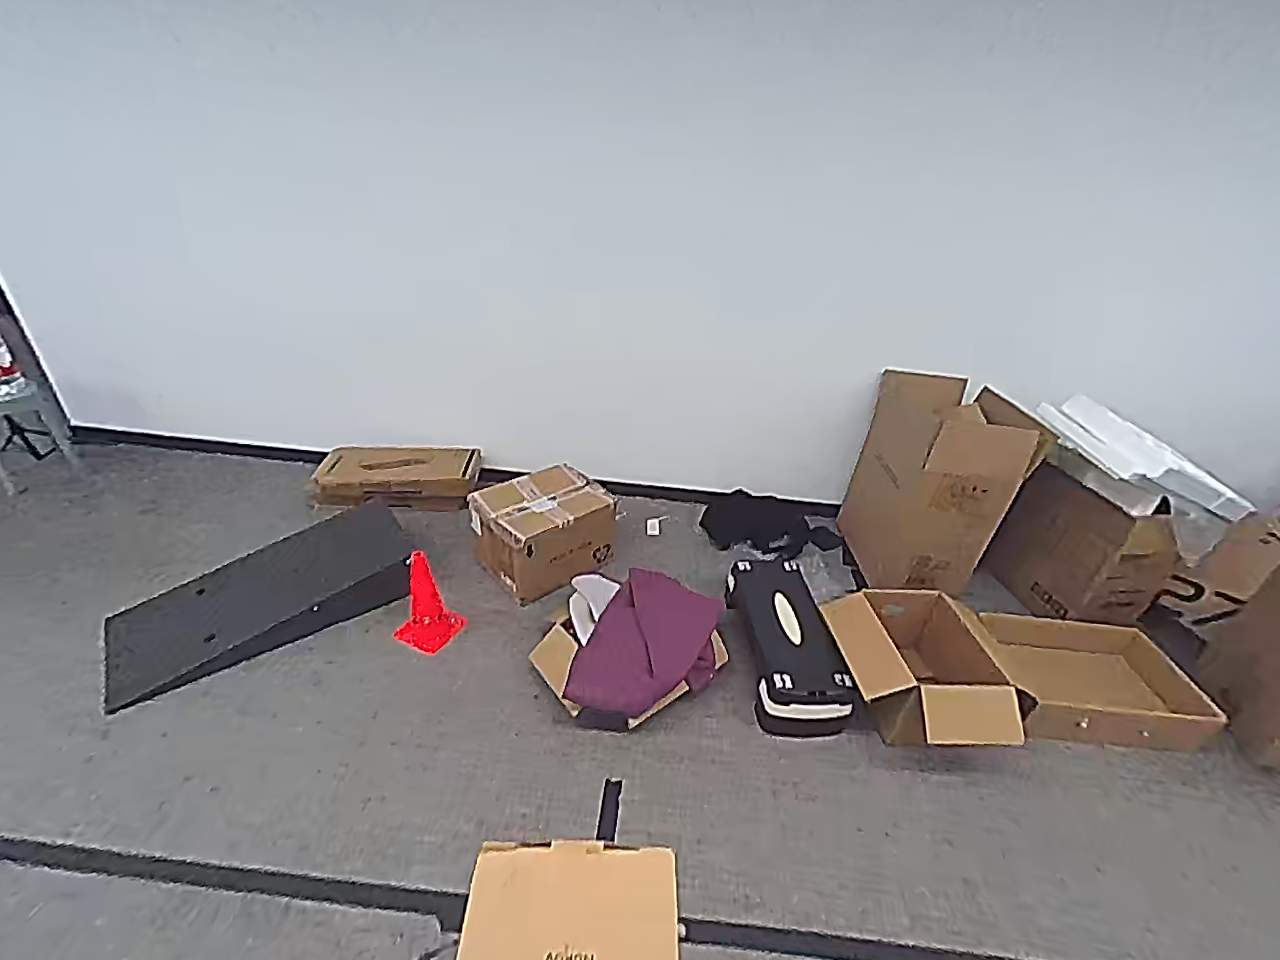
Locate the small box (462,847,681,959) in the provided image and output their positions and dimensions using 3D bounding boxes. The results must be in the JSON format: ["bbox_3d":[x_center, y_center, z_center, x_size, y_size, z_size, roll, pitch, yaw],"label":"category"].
[{"bbox_3d":[-0.056,0.427,0.441,0.168,0.176,0.179,3,42,-2],"label":"small box"}]
